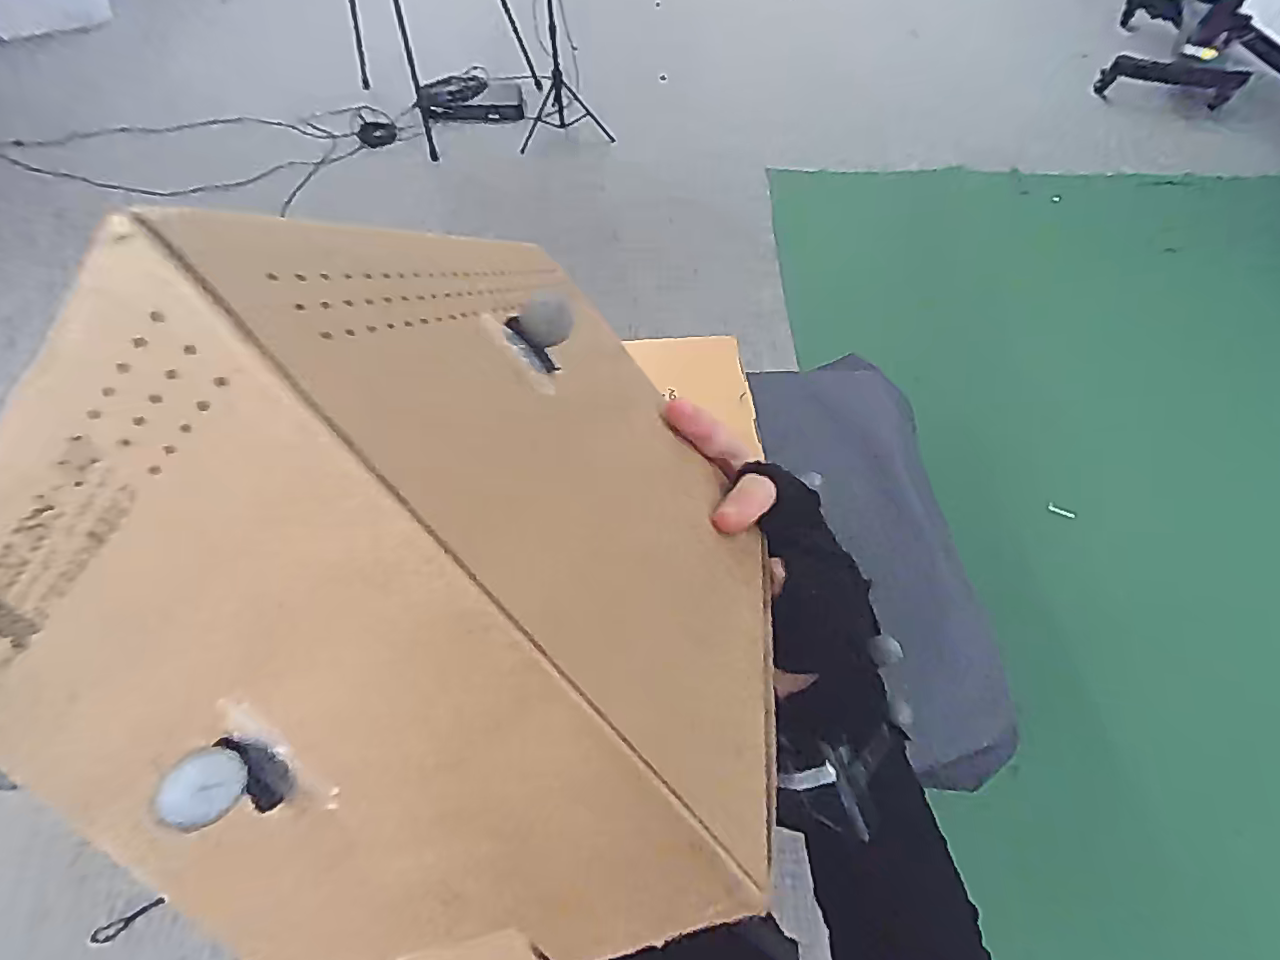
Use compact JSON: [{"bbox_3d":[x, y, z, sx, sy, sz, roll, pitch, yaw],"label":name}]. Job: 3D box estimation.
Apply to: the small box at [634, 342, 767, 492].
[{"bbox_3d":[0.017,-0.023,0.571,0.179,0.176,0.168,-3,59,-4],"label":"small box"}]
